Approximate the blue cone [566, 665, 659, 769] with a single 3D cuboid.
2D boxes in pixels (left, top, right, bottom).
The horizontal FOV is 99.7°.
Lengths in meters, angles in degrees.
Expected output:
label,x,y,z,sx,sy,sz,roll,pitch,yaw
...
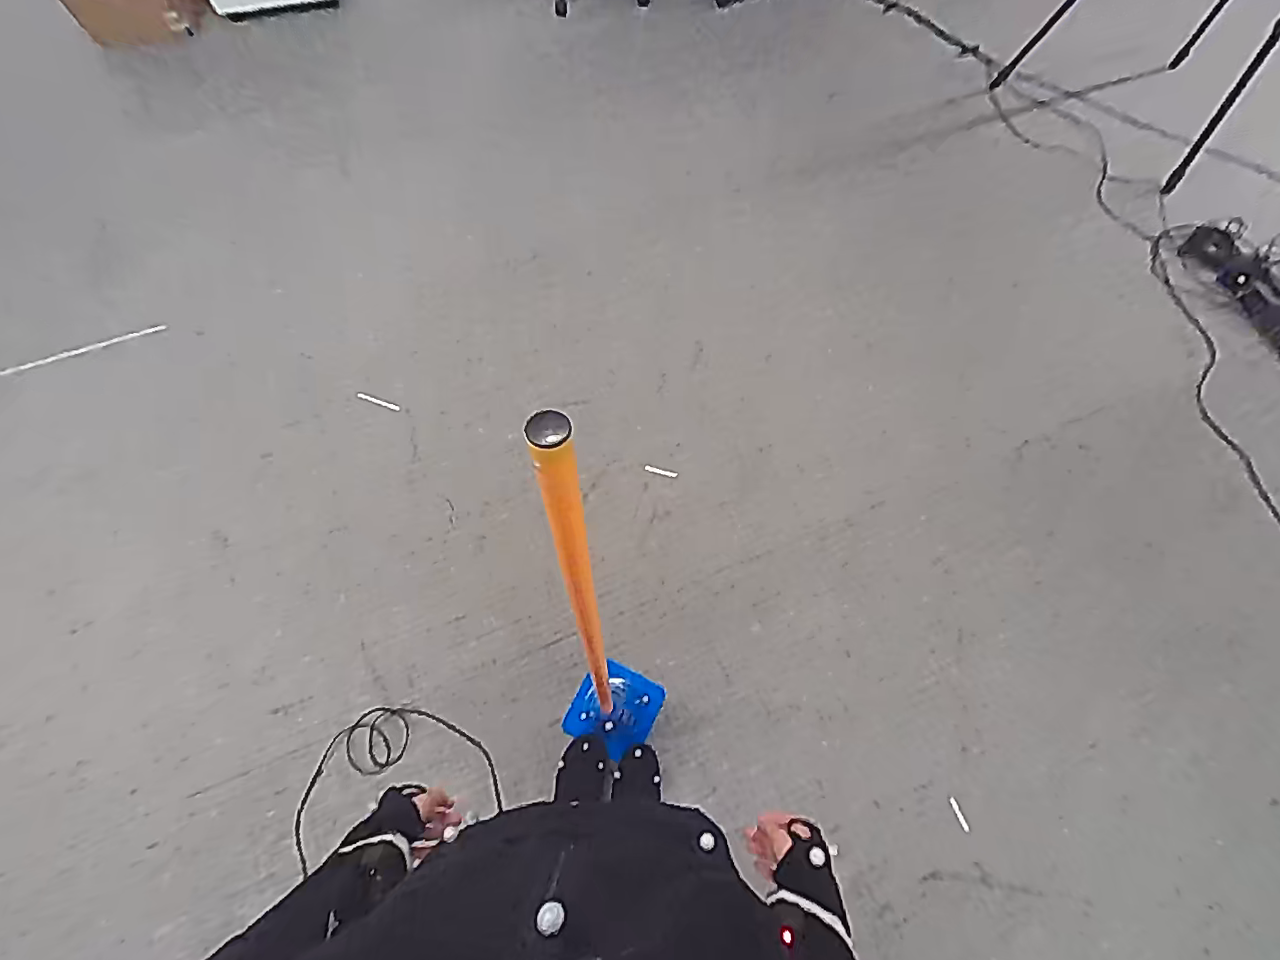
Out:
label,x,y,z,sx,sy,sz,roll,pitch,yaw
blue cone,-0.062,0.492,1.141,0.192,0.380,0.193,25,67,9
